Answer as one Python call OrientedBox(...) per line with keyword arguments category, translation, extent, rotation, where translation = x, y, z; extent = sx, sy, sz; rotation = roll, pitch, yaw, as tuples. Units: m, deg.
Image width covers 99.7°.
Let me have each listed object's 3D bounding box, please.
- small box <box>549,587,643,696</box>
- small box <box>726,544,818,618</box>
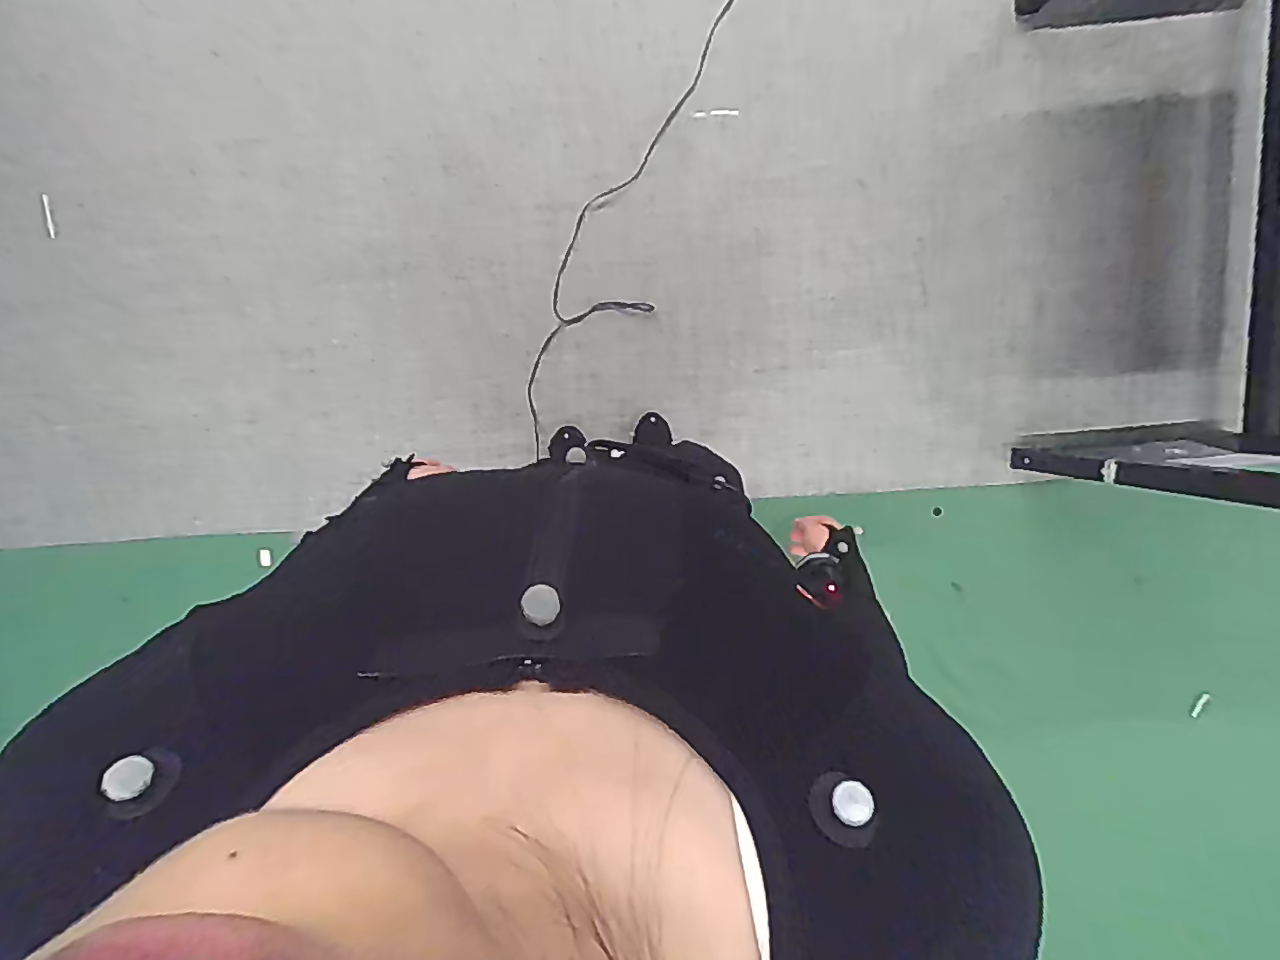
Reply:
OrientedBox(category="small box", translation=(-0.098, 0.369, 1.280), extent=(0.168, 0.176, 0.179), rotation=(-21, 97, 4))
OrientedBox(category="small box", translation=(0.350, 0.286, 1.429), extent=(0.179, 0.176, 0.168), rotation=(41, 96, -5))
